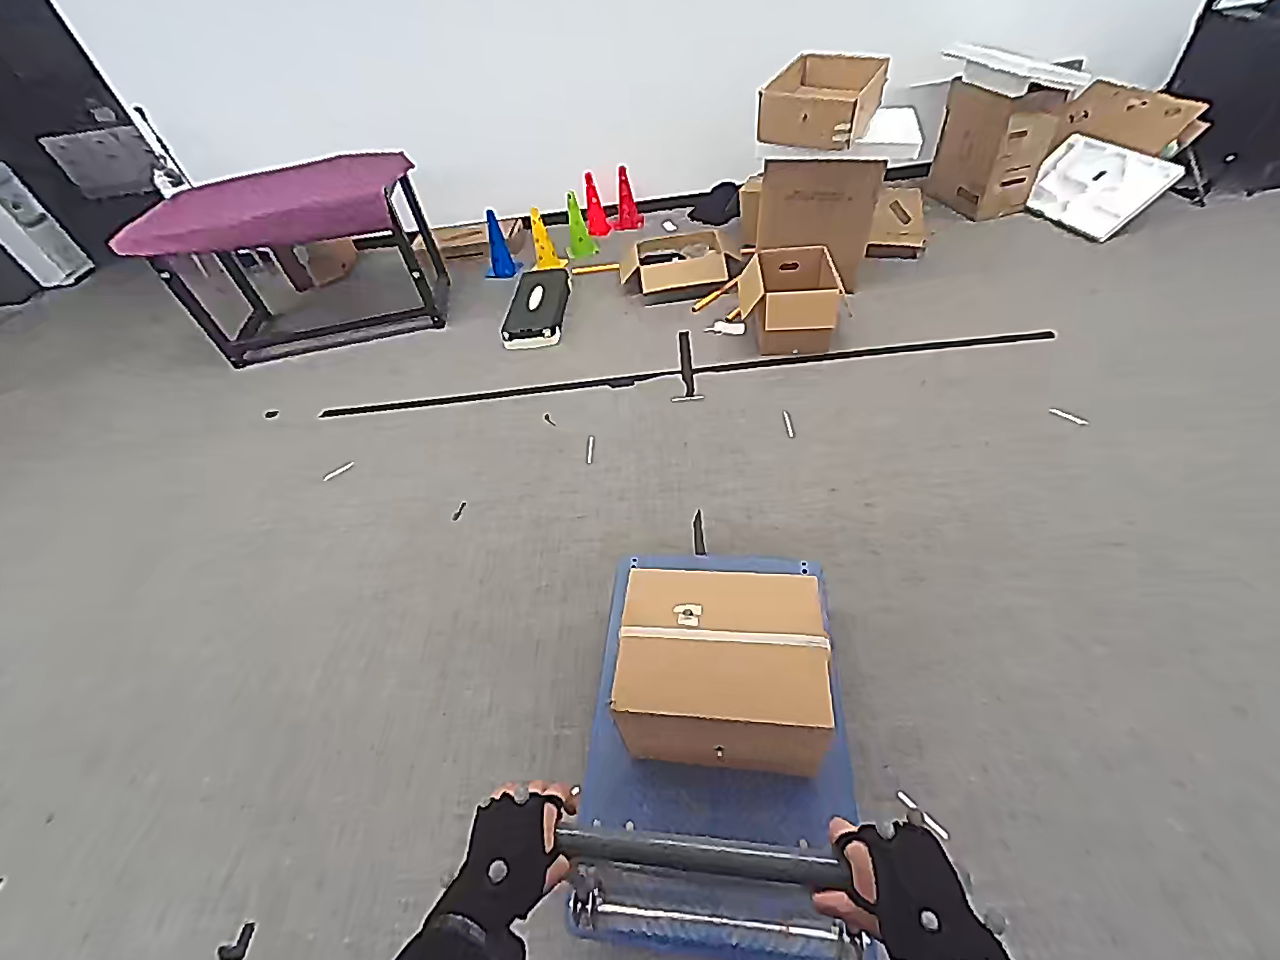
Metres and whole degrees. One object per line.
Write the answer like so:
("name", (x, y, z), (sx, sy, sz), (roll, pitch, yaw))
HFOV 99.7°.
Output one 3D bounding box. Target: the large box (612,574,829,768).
("large box", (0.178, 0.422, 1.199), (0.408, 0.320, 0.320), (0, 47, 10))
